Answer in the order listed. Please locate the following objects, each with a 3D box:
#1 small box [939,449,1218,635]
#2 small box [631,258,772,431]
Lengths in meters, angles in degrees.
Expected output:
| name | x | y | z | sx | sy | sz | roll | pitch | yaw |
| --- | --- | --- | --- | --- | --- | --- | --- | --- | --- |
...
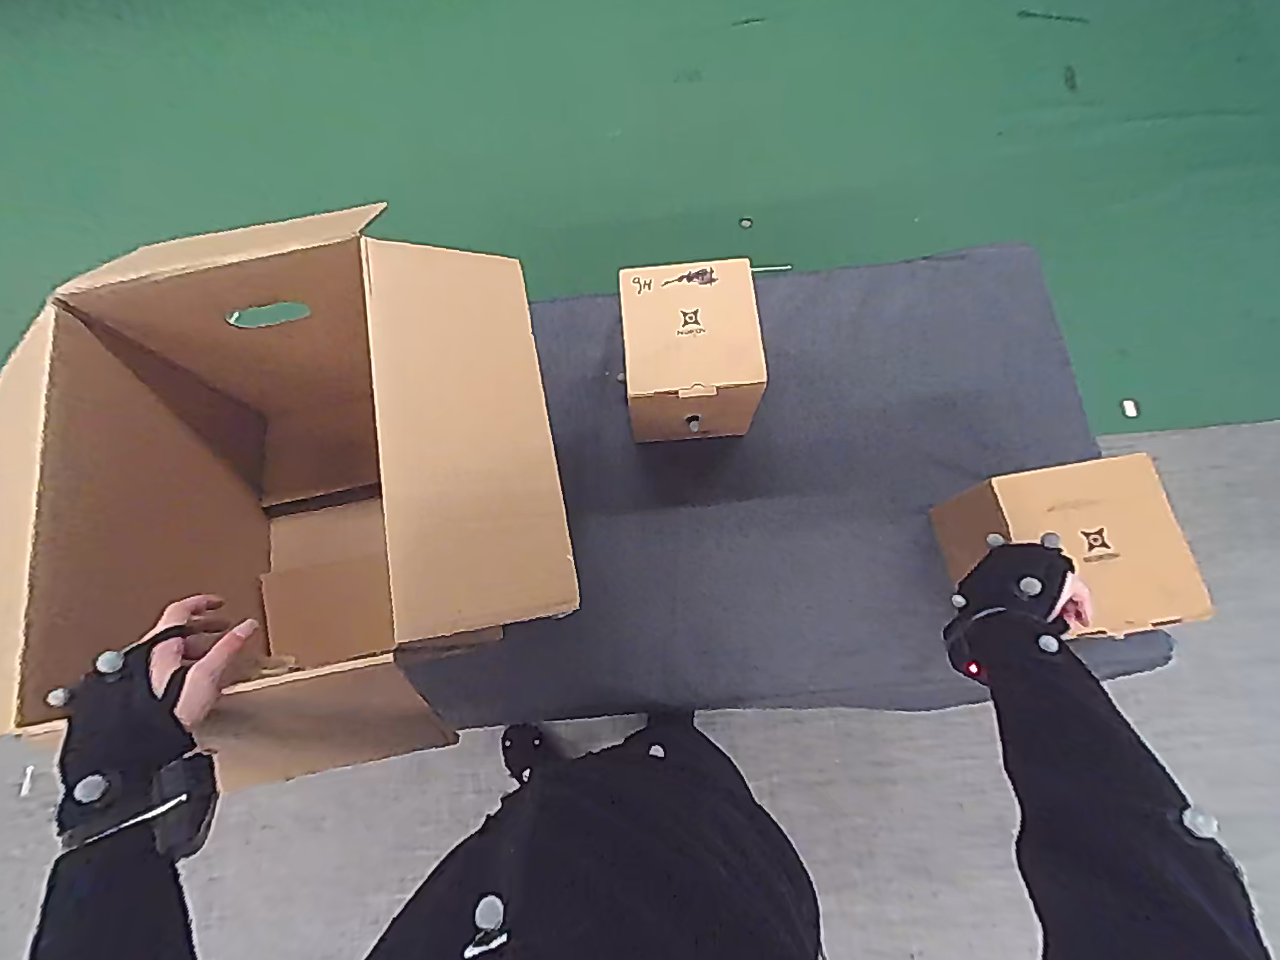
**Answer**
| name | x | y | z | sx | sy | sz | roll | pitch | yaw |
| --- | --- | --- | --- | --- | --- | --- | --- | --- | --- |
| small box | 0.491 | 0.081 | 0.641 | 0.168 | 0.176 | 0.179 | -10 | 73 | 4 |
| small box | 0.078 | -0.172 | 0.739 | 0.168 | 0.176 | 0.179 | -4 | 76 | 1 |
